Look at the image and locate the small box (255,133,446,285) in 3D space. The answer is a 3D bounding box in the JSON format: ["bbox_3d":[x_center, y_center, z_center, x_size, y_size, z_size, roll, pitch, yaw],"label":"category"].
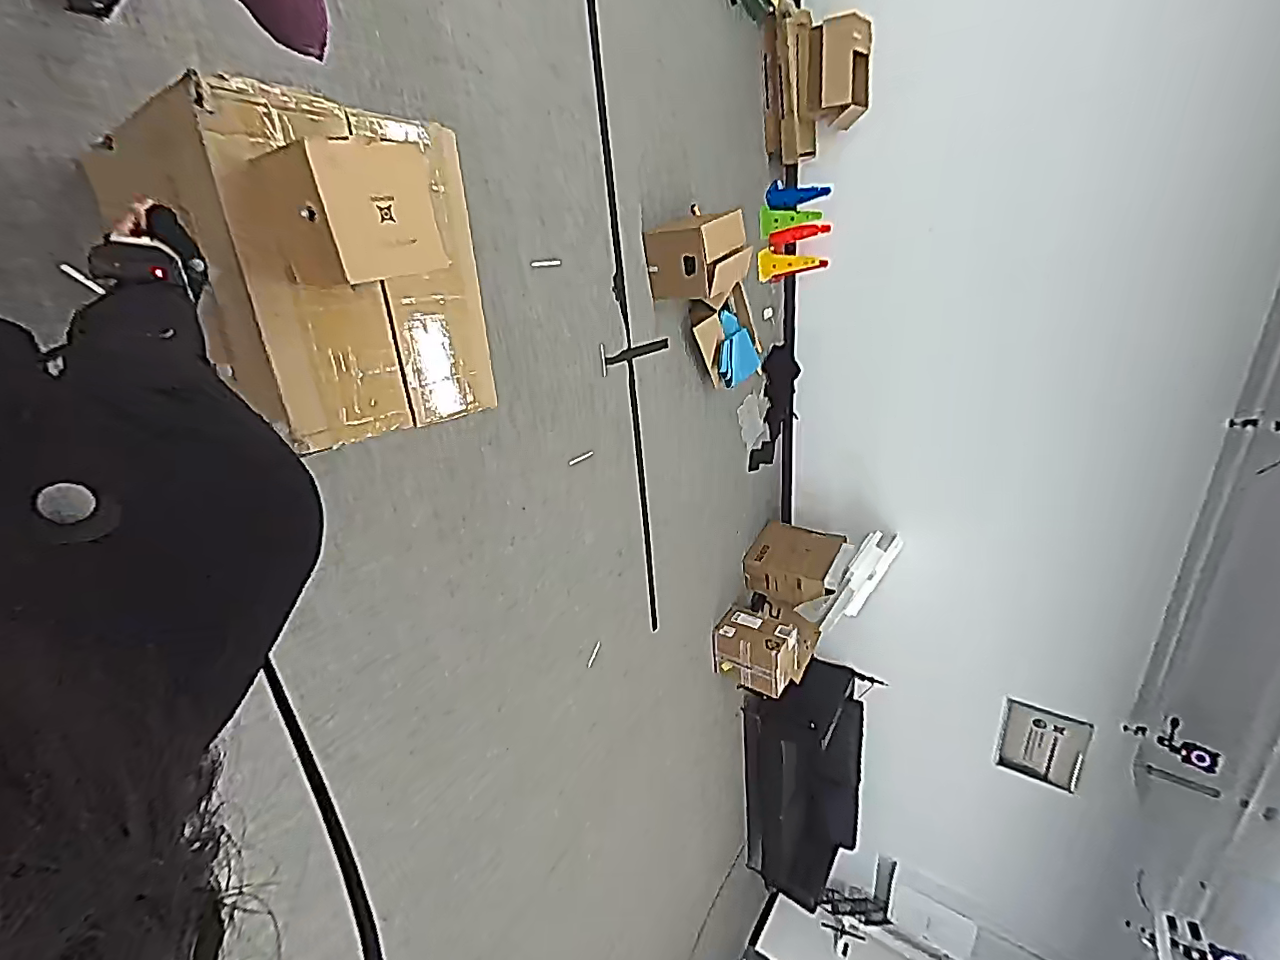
[{"bbox_3d":[-0.423,-0.392,0.797,0.168,0.176,0.179,-34,127,-44],"label":"small box"}]
